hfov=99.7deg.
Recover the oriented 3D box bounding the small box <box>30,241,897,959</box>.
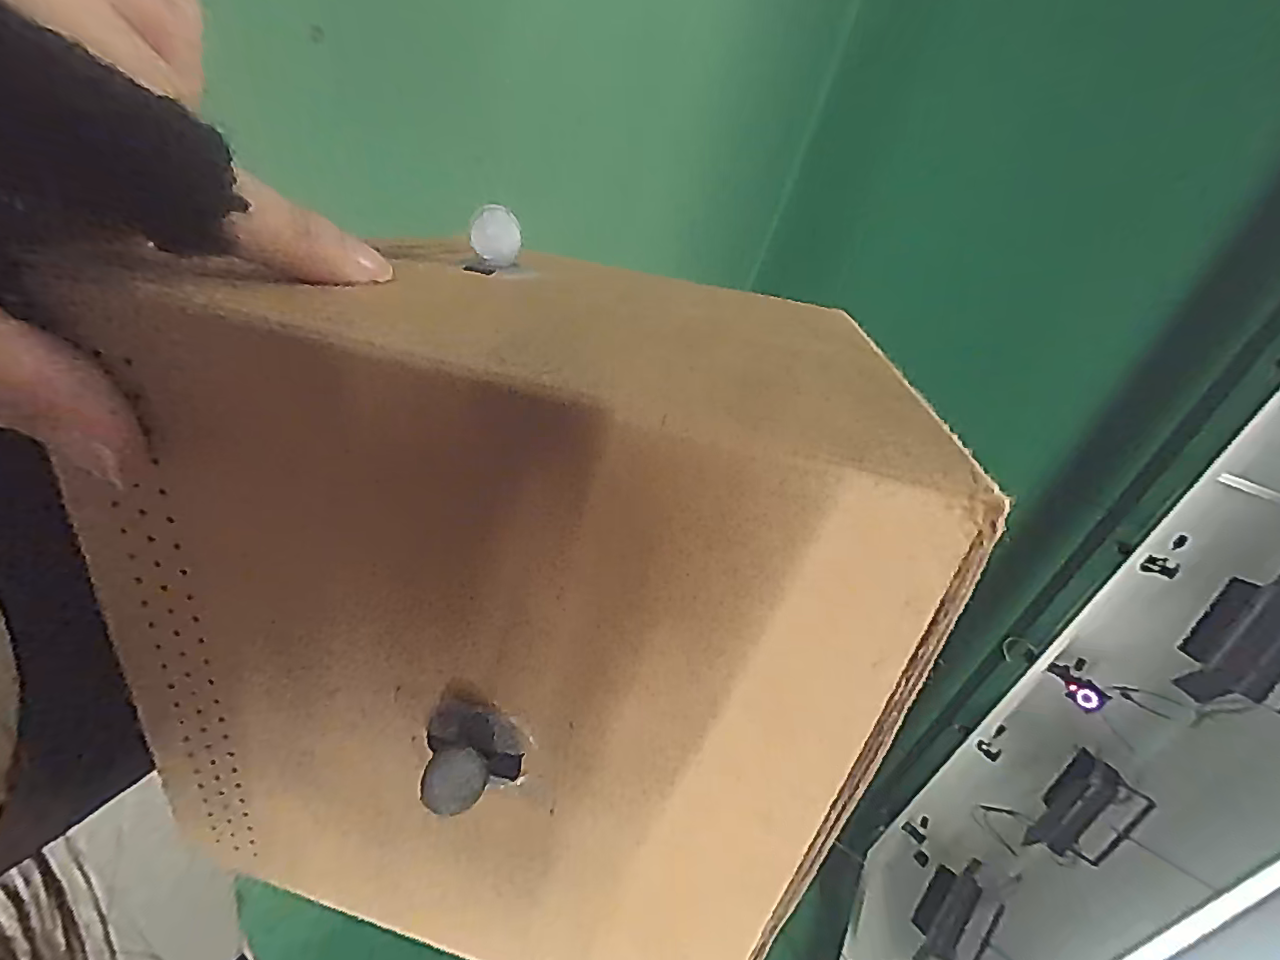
[{"bbox_3d":[-0.039,0.023,0.198,0.168,0.176,0.179,-65,167,-63],"label":"small box"}]
